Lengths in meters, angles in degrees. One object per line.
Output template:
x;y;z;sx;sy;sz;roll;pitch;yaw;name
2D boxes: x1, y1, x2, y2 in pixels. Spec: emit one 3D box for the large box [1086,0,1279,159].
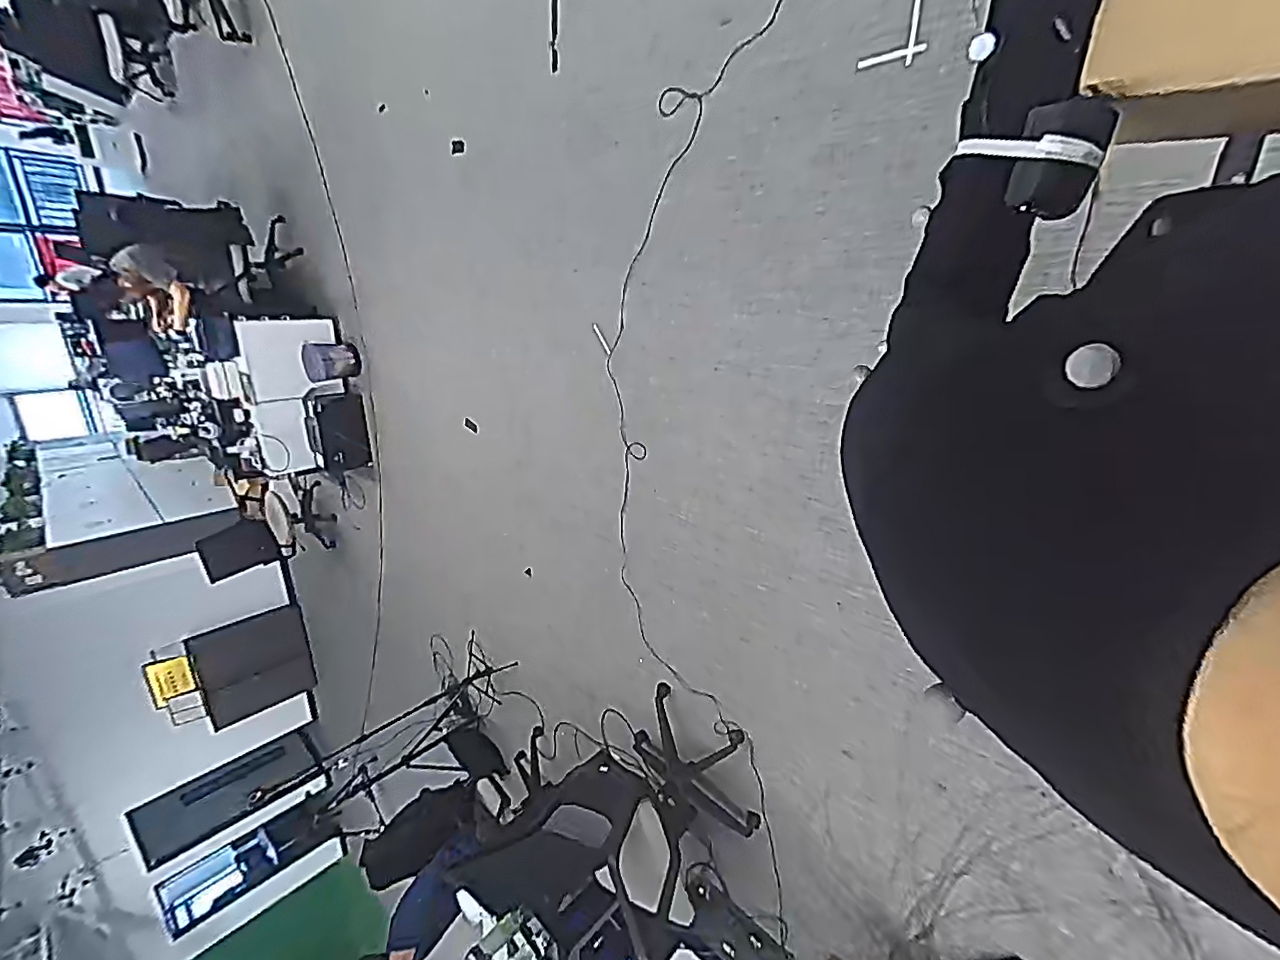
0.545;-0.387;0.298;0.408;0.320;0.320;18;122;36;large box
